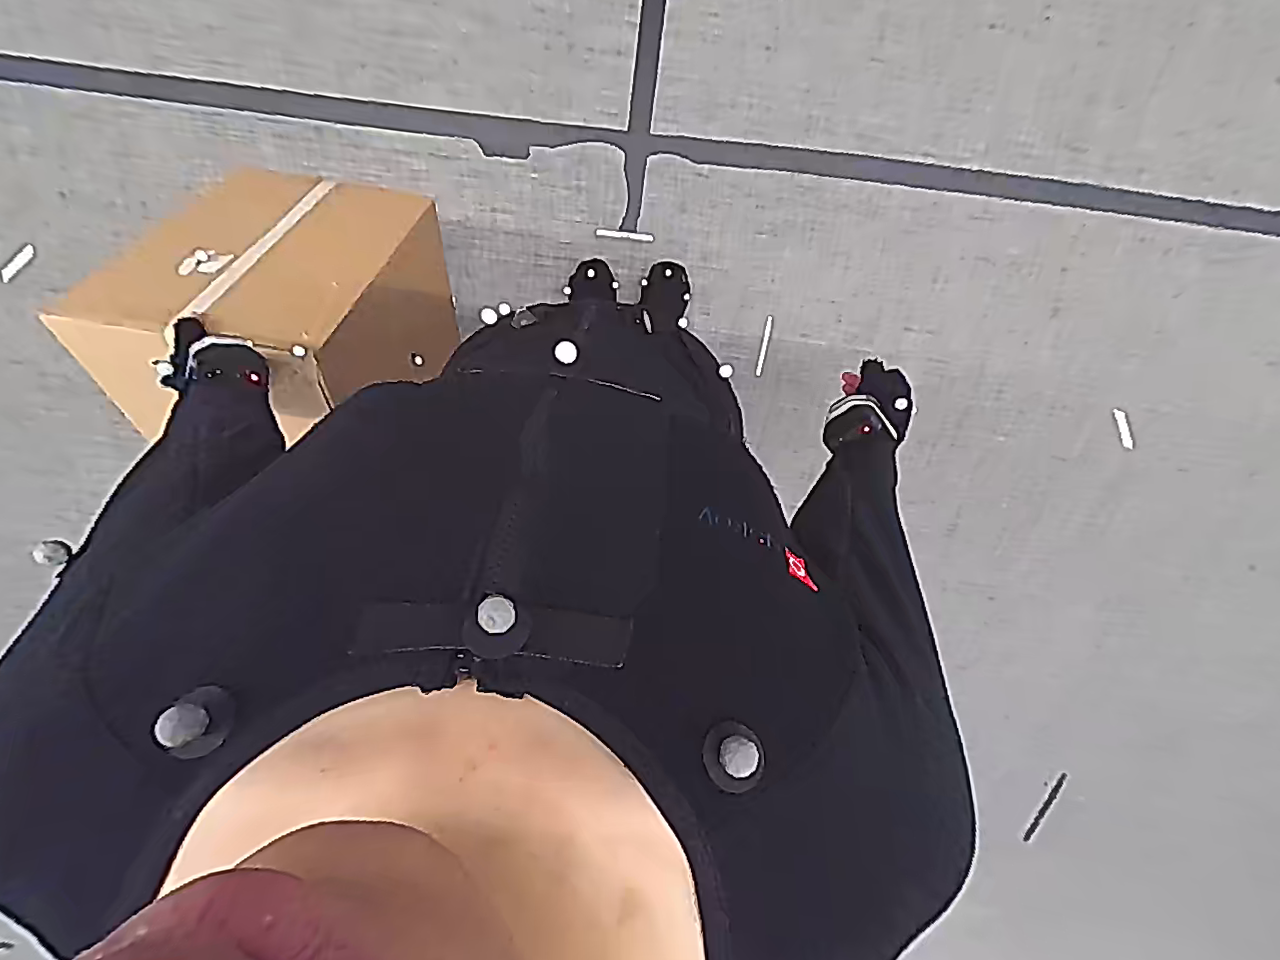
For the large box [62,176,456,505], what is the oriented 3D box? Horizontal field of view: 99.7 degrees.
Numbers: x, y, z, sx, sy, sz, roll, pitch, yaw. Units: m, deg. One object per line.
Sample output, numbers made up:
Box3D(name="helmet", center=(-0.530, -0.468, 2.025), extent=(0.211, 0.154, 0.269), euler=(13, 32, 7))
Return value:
Box3D(name="large box", center=(-0.524, -0.224, 0.870), extent=(0.320, 0.408, 0.320), euler=(8, 142, 0))
